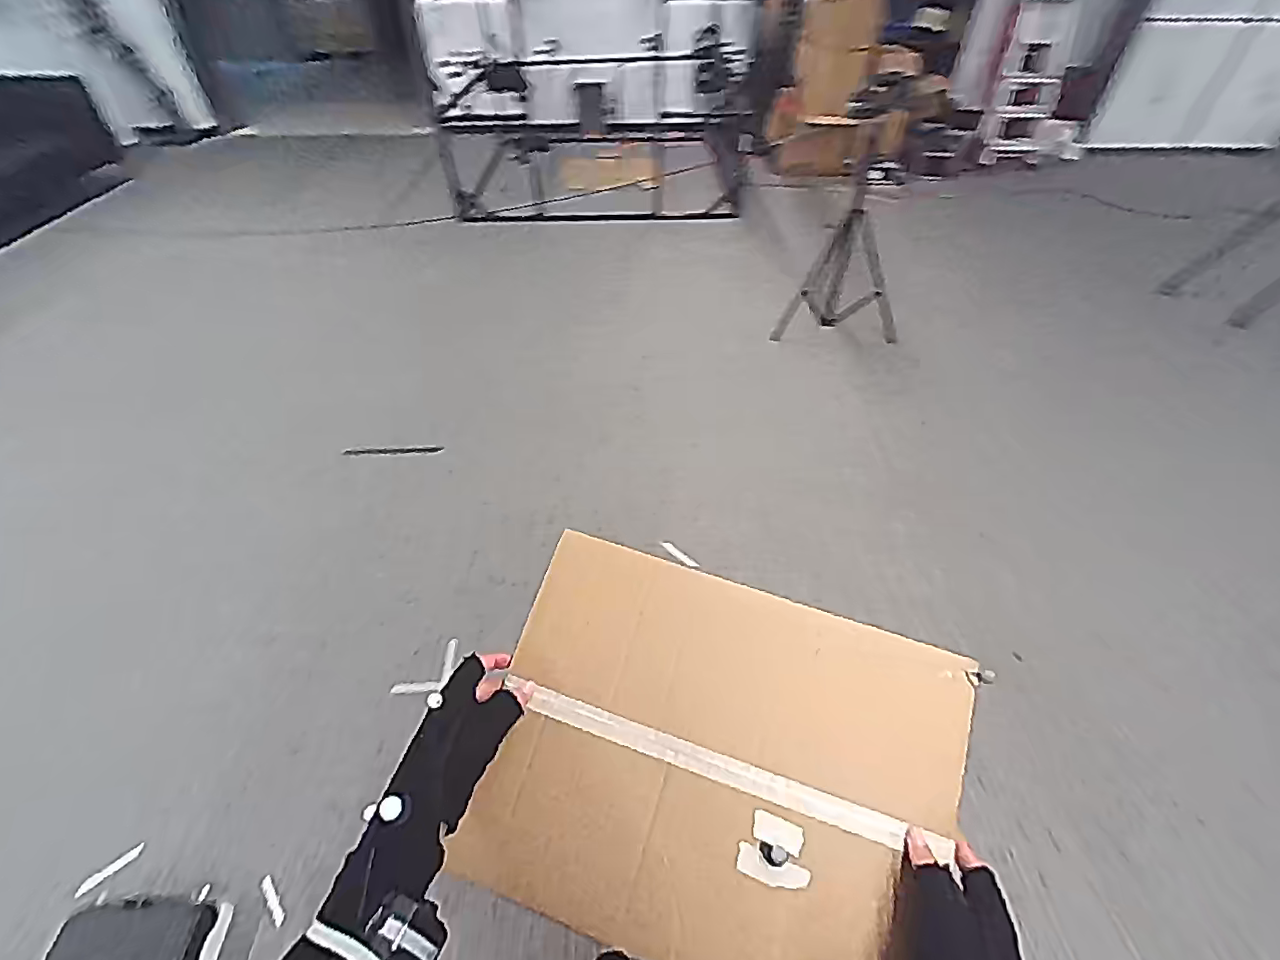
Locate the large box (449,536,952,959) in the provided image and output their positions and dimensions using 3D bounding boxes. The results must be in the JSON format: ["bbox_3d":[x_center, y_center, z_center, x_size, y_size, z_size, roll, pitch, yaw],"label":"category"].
[{"bbox_3d":[0.068,0.292,0.630,0.408,0.320,0.320,16,74,9],"label":"large box"}]
